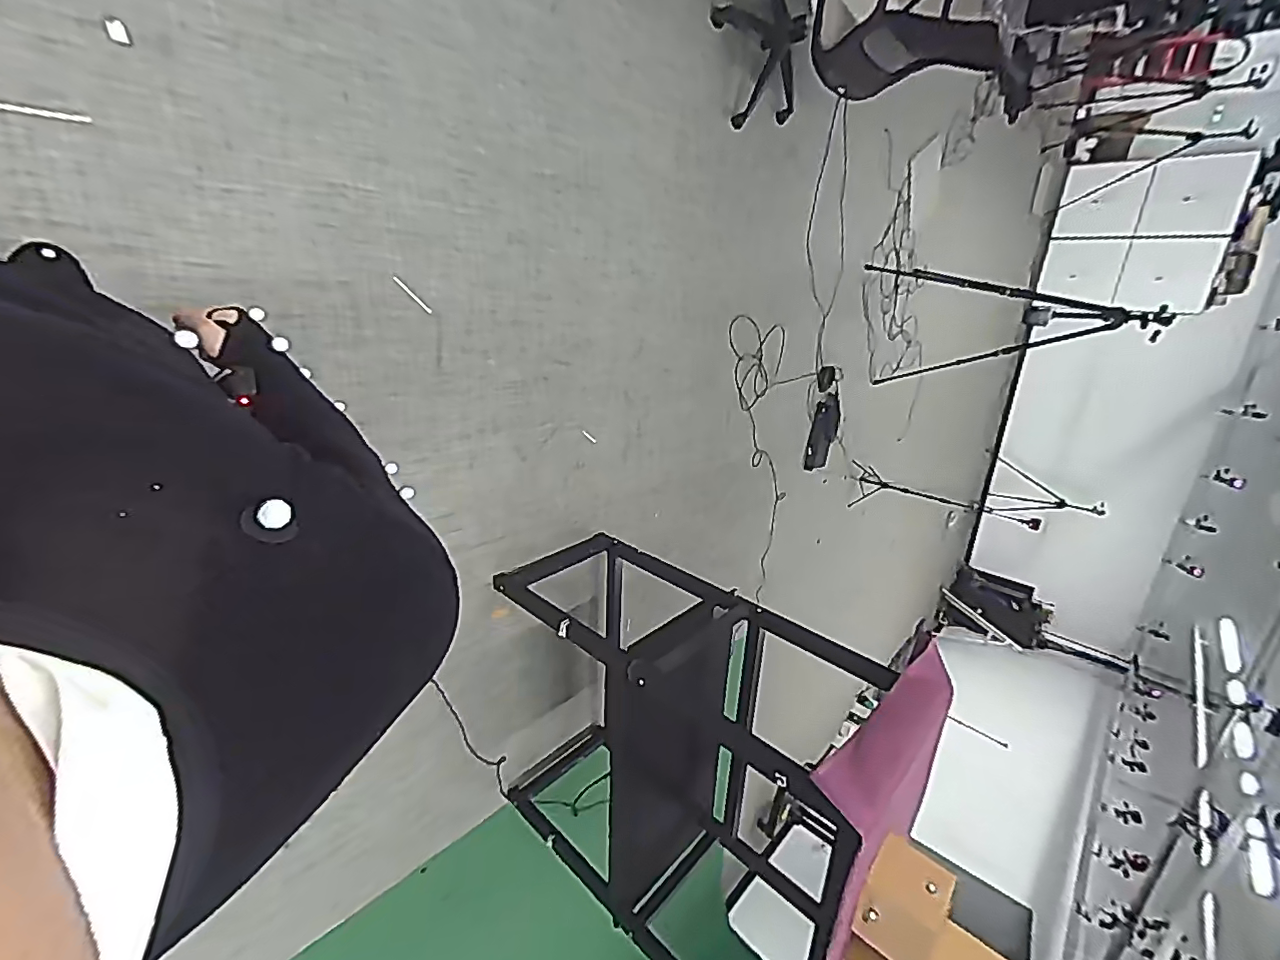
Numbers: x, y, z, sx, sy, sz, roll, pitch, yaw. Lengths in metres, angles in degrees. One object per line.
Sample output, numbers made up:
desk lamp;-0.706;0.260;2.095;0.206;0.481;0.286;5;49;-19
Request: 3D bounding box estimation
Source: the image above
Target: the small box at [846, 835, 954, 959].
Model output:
small box;0.615;1.001;1.284;0.179;0.176;0.168;-14;114;-46
